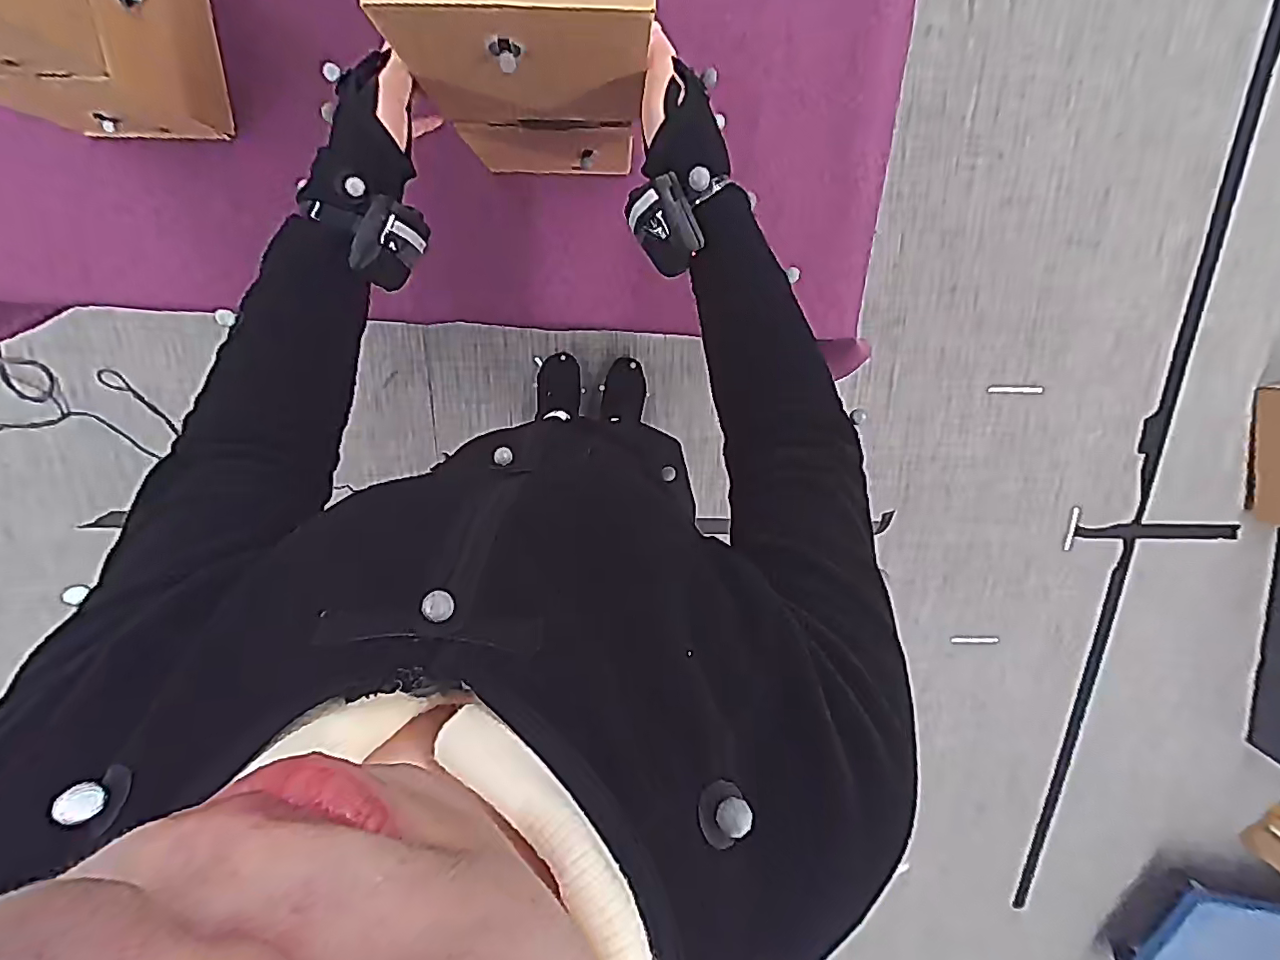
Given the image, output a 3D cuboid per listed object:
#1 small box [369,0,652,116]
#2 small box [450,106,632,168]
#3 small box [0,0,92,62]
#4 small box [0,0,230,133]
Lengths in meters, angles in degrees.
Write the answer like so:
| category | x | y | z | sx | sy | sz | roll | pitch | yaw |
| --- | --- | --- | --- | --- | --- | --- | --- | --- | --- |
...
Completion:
| category | x | y | z | sx | sy | sz | roll | pitch | yaw |
| --- | --- | --- | --- | --- | --- | --- | --- | --- | --- |
| small box | -0.081 | -0.377 | 0.376 | 0.179 | 0.176 | 0.168 | -1 | 105 | -3 |
| small box | -0.089 | -0.425 | 0.536 | 0.168 | 0.176 | 0.179 | 0 | 107 | -3 |
| small box | -0.530 | -0.405 | 0.352 | 0.168 | 0.176 | 0.179 | -2 | 108 | -3 |
| small box | -0.536 | -0.454 | 0.508 | 0.168 | 0.176 | 0.179 | 0 | 109 | -3 |
